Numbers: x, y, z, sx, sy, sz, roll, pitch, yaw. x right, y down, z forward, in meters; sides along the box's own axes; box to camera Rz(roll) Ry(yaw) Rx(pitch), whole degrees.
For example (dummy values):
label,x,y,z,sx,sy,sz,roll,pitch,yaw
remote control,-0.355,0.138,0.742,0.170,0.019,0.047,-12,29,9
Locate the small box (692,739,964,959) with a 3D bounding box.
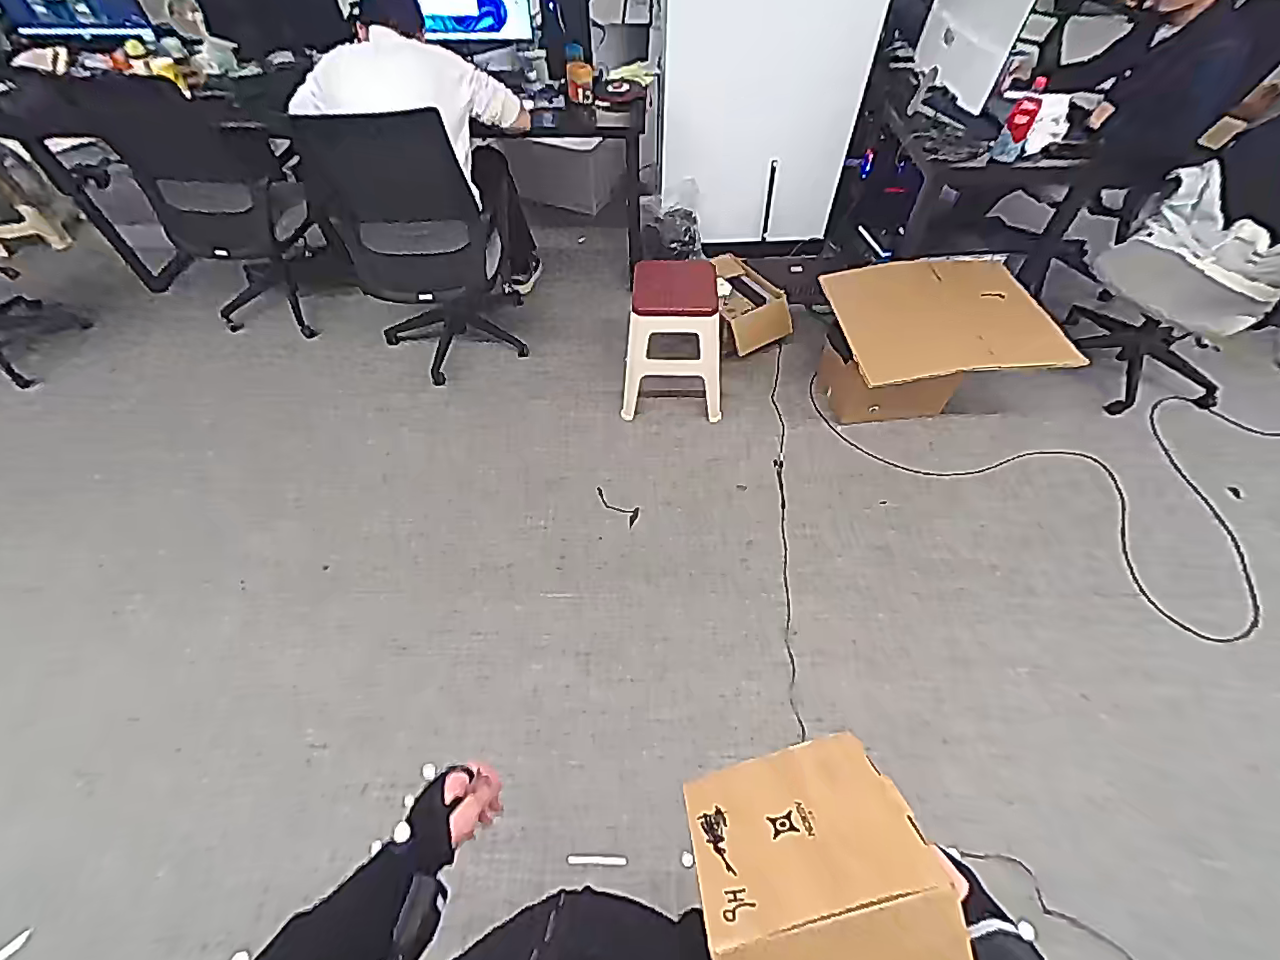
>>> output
label,x,y,z,sx,sy,sz,roll,pitch,yaw
small box,0.158,0.372,0.475,0.179,0.168,0.176,-17,99,0
